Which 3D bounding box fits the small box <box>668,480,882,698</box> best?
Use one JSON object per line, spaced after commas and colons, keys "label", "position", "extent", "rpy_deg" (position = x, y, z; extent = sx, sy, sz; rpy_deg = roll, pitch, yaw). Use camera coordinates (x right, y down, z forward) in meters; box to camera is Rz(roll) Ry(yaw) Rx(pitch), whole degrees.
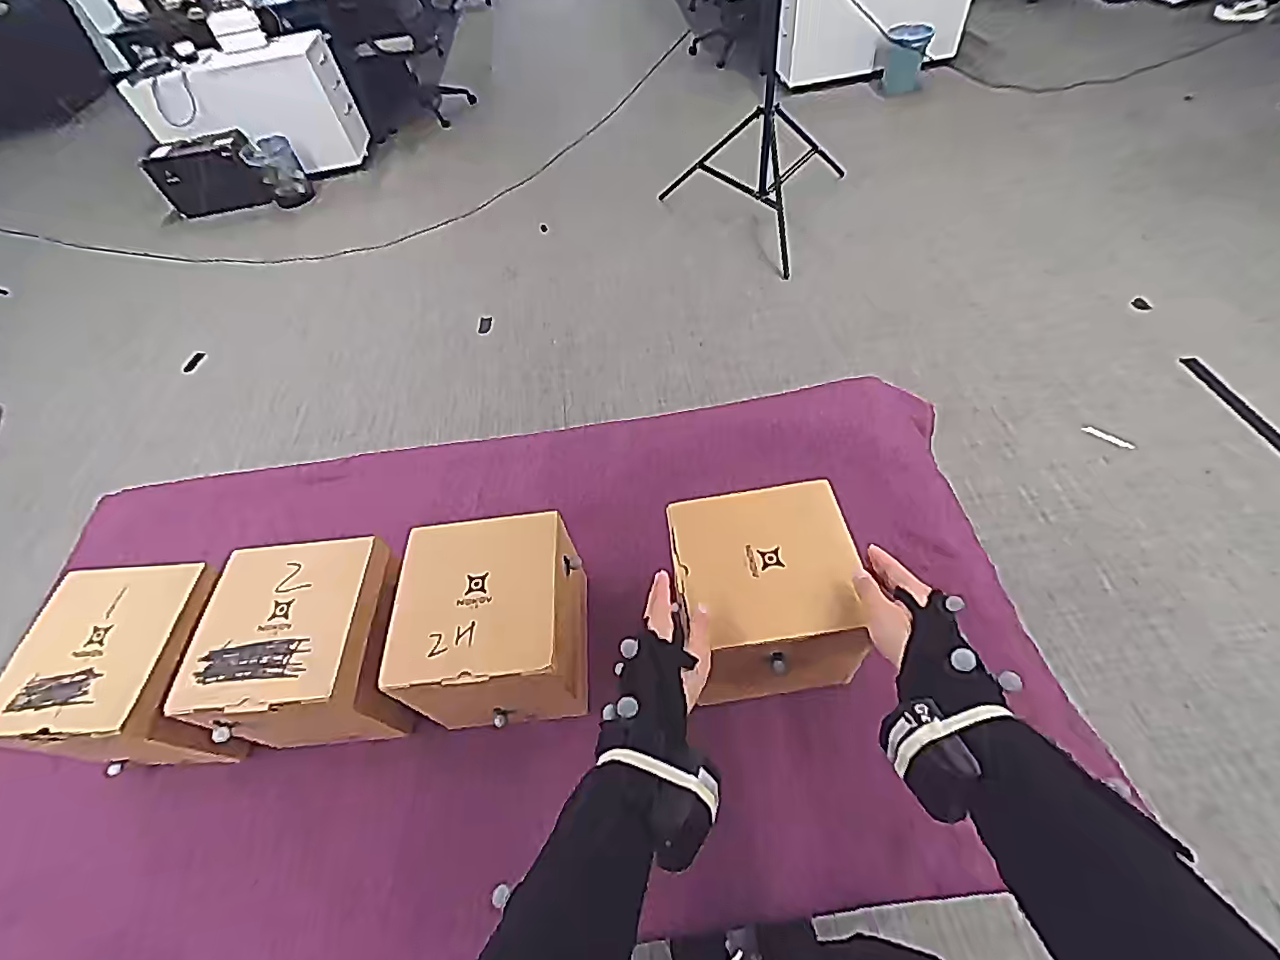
{"label": "small box", "position": [0.132, 0.124, 0.591], "extent": [0.179, 0.176, 0.168], "rpy_deg": [-10, 53, 2]}
